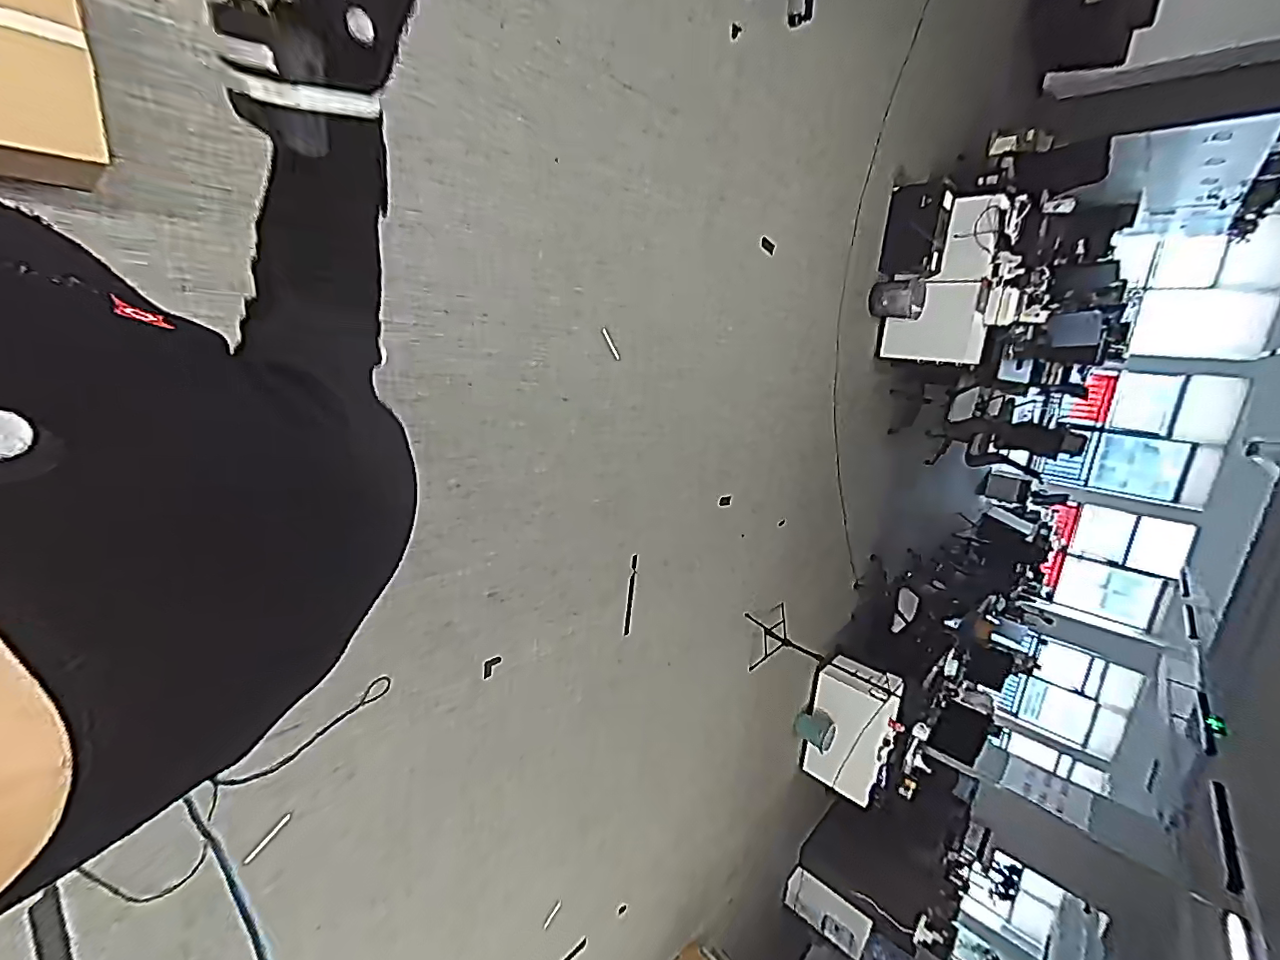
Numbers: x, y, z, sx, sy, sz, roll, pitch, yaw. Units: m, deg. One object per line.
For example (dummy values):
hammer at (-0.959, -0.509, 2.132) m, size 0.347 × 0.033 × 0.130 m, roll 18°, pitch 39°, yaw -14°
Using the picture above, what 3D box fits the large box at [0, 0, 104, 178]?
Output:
large box at (-1.049, -0.636, 0.728) m, size 0.408 × 0.320 × 0.320 m, roll -14°, pitch 115°, yaw -46°
